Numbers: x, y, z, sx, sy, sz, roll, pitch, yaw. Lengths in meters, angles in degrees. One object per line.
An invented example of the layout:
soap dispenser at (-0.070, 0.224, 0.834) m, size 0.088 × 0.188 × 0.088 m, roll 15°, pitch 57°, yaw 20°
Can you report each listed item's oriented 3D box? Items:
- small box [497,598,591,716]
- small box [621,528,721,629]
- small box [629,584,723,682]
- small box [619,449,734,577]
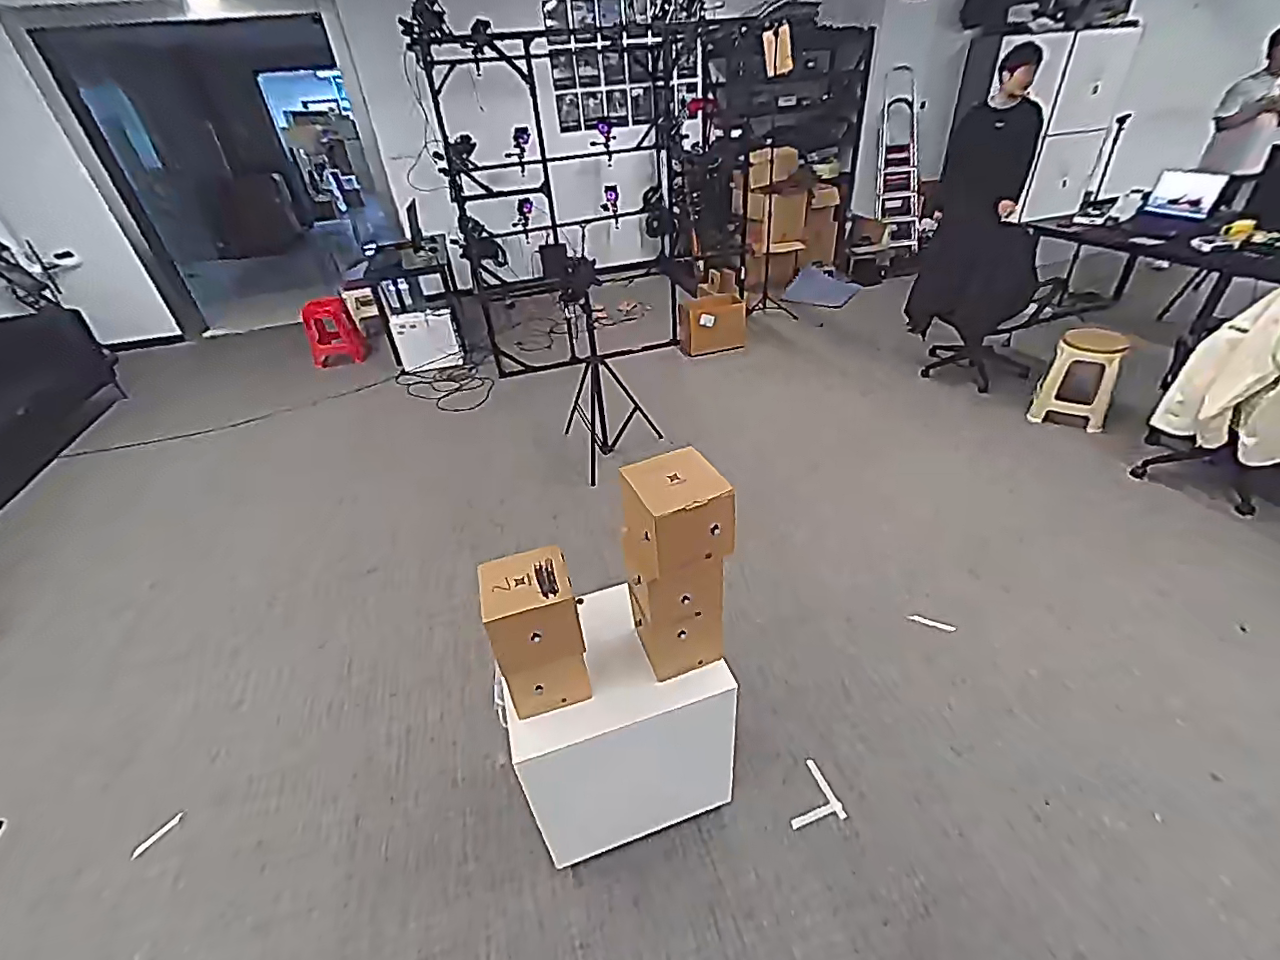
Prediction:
small box at (-0.214, 0.401, 1.210) m, size 0.168 × 0.176 × 0.179 m, roll -13°, pitch 36°, yaw -12°
small box at (0.068, 0.198, 1.166) m, size 0.168 × 0.176 × 0.179 m, roll -15°, pitch 37°, yaw -13°
small box at (0.082, 0.332, 1.262) m, size 0.168 × 0.176 × 0.179 m, roll -17°, pitch 36°, yaw -13°
small box at (0.072, 0.069, 1.065) m, size 0.168 × 0.176 × 0.179 m, roll -18°, pitch 37°, yaw -17°
